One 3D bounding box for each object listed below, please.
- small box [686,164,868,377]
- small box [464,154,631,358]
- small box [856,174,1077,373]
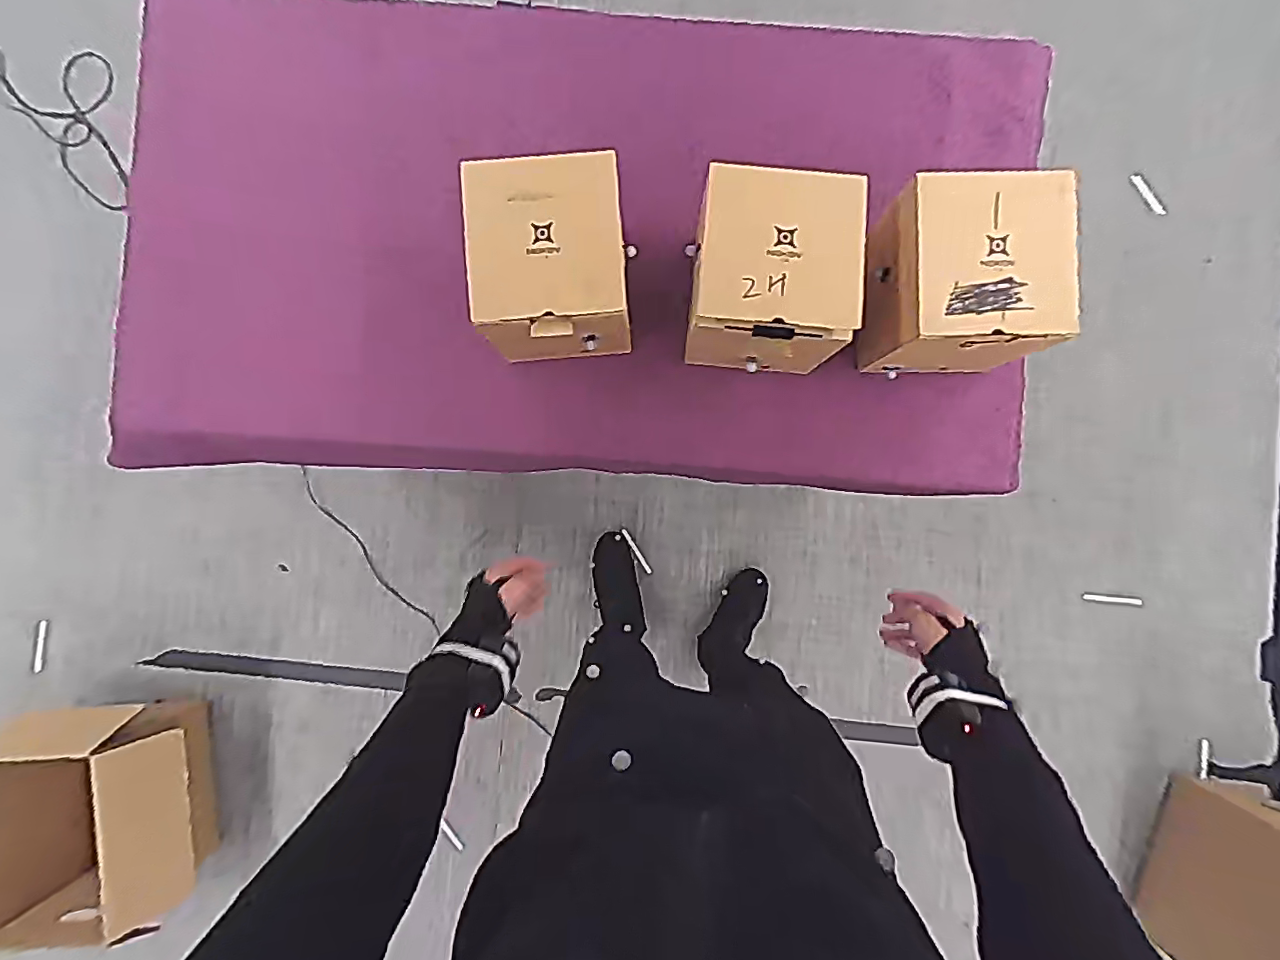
[{"bbox_3d":[0.148,-0.234,0.641,0.168,0.176,0.179,6,89,0],"label":"small box"},{"bbox_3d":[-0.098,-0.249,0.646,0.168,0.176,0.179,-4,88,0],"label":"small box"},{"bbox_3d":[0.368,-0.228,0.639,0.168,0.176,0.179,0,88,1],"label":"small box"}]
